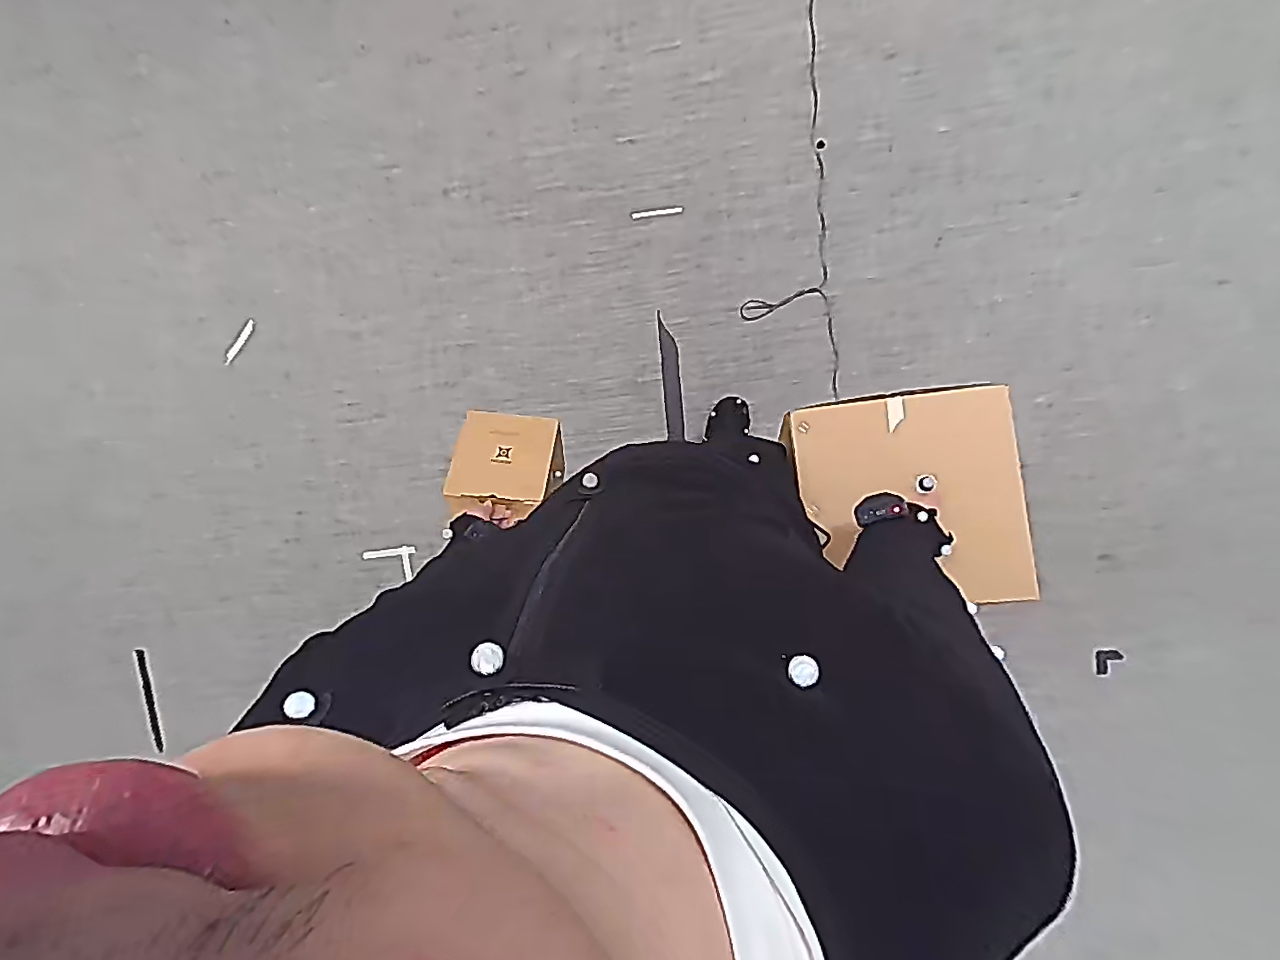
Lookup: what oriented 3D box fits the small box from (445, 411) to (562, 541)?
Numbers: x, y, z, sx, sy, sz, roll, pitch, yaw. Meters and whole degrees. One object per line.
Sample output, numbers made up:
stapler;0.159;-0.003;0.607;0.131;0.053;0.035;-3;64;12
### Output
small box;-0.238;-0.002;0.996;0.168;0.176;0.179;6;59;-1
